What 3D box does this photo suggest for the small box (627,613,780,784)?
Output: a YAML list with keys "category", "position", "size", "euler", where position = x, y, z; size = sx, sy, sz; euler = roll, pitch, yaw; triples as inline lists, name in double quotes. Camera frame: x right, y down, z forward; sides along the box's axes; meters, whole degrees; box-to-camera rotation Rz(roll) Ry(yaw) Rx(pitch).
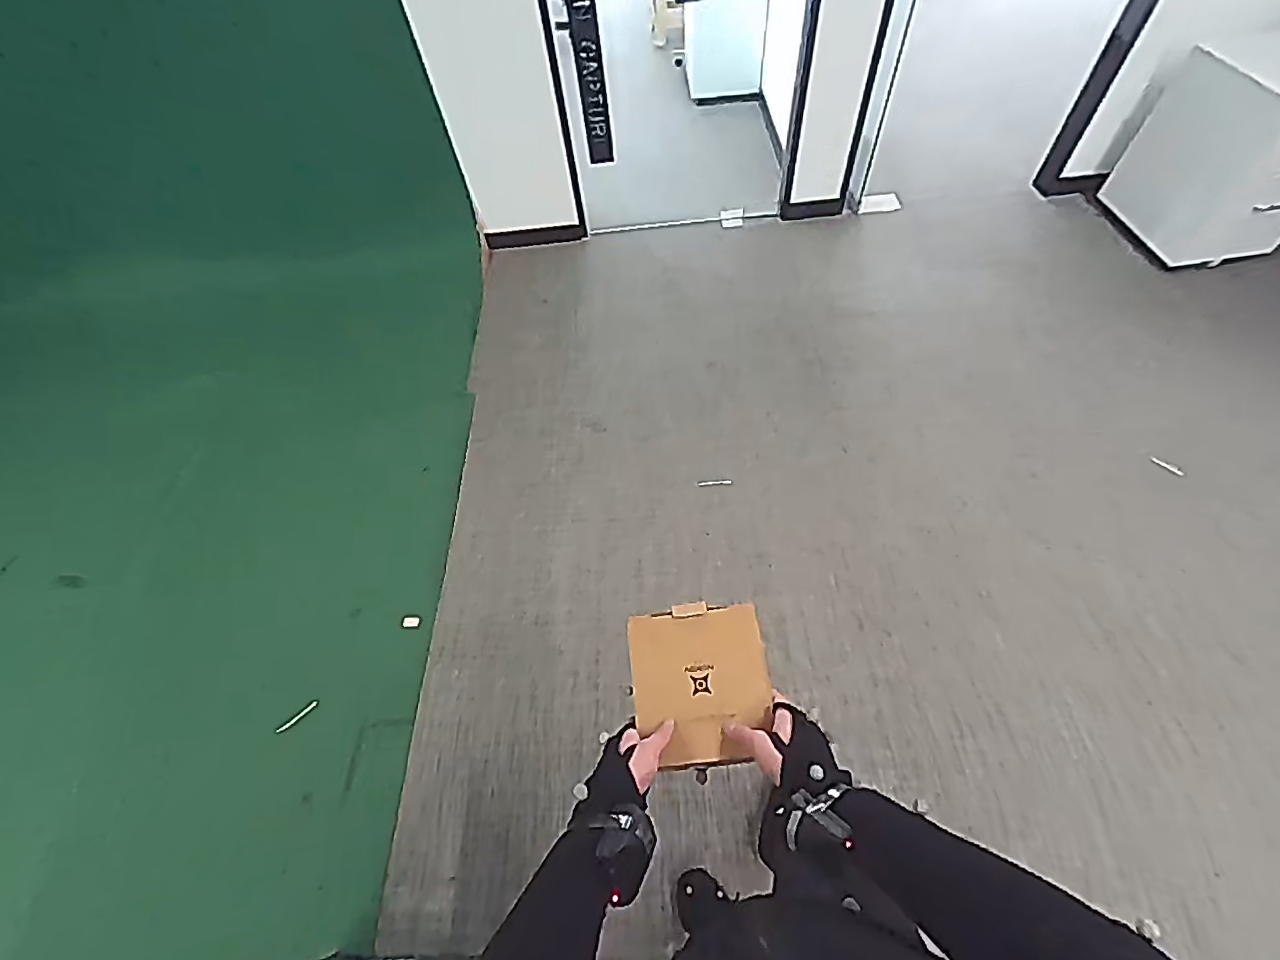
- category: "small box"
  position: [0.074, 0.287, 0.699]
  size: [0.168, 0.176, 0.179]
  euler: [-6, 59, 4]
